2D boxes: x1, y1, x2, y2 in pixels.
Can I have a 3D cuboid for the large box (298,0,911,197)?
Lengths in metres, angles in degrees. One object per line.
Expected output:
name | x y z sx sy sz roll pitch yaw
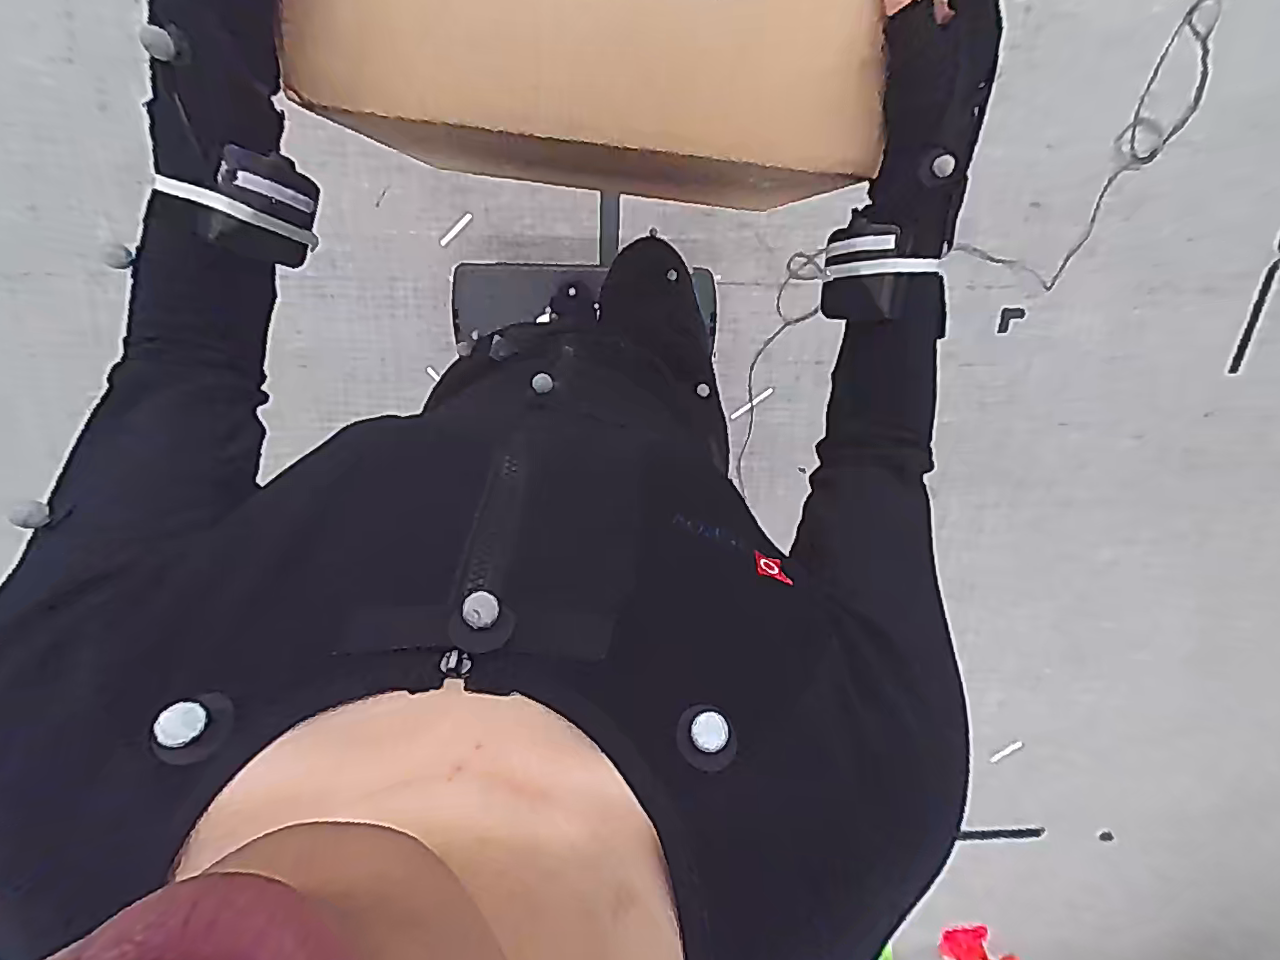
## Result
large box | -0.020 -0.442 0.456 0.408 0.320 0.320 4 113 -5
